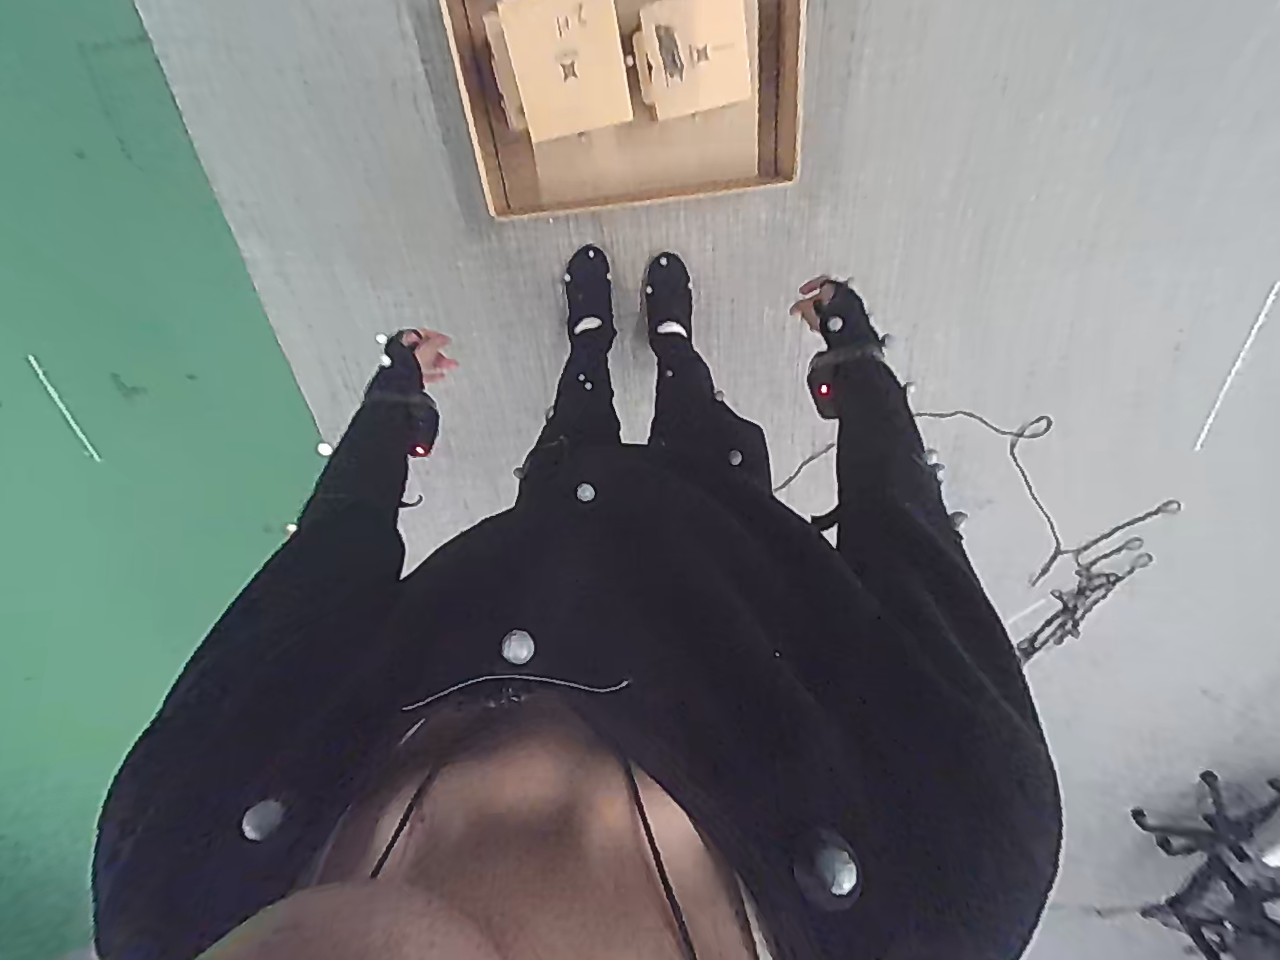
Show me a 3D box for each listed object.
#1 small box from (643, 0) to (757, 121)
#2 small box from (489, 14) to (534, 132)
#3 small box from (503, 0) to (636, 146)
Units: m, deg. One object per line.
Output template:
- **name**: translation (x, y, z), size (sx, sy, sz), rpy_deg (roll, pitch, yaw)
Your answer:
- **small box**: translation (0.108, -0.775, 0.992), size (0.179, 0.176, 0.168), rpy_deg (-11, 122, 7)
- **small box**: translation (-0.156, -0.756, 1.002), size (0.179, 0.176, 0.168), rpy_deg (-10, 123, 4)
- **small box**: translation (-0.102, -0.660, 0.871), size (0.168, 0.176, 0.179), rpy_deg (-11, 123, 4)
